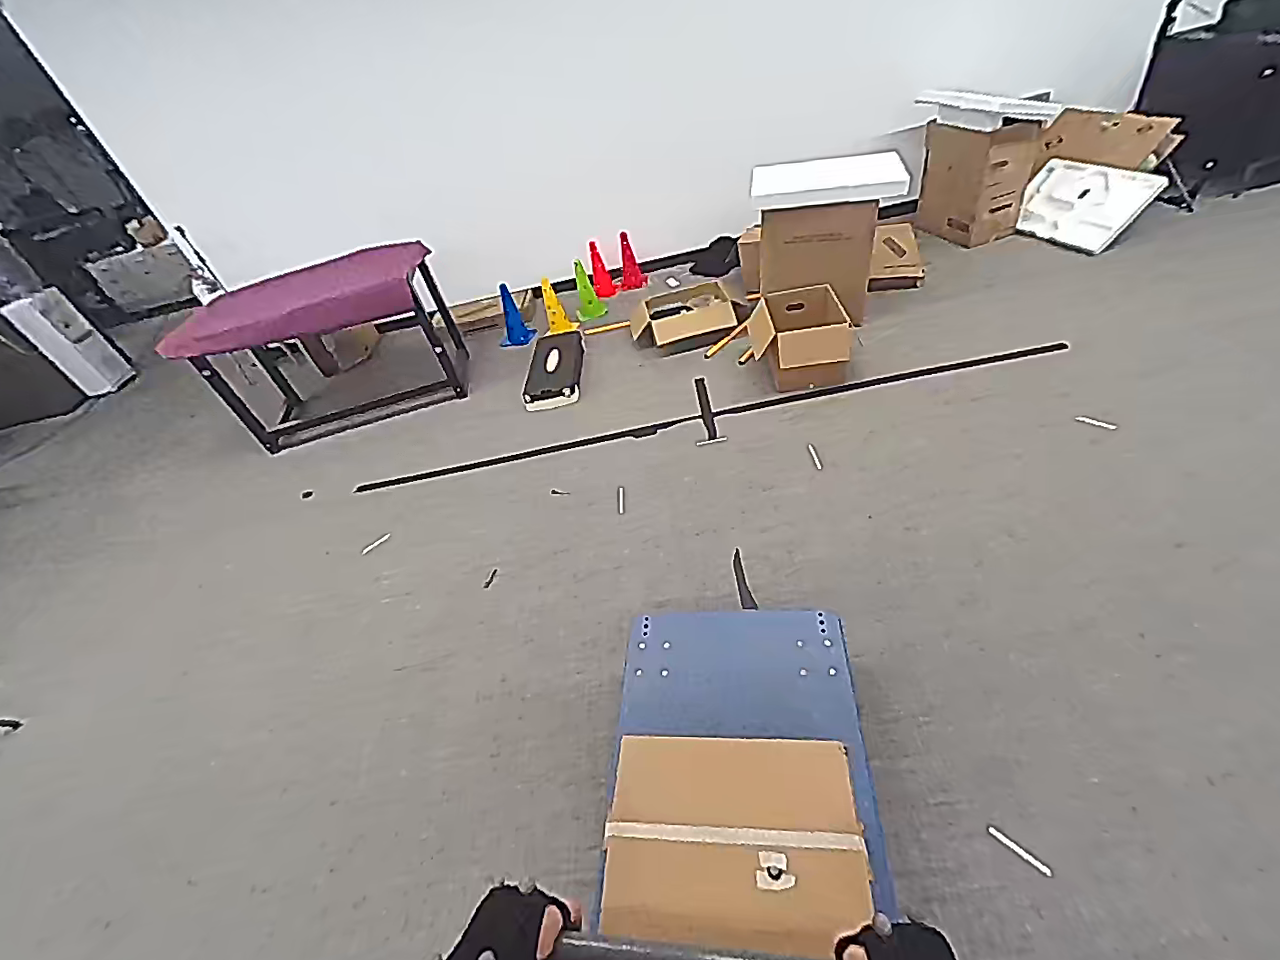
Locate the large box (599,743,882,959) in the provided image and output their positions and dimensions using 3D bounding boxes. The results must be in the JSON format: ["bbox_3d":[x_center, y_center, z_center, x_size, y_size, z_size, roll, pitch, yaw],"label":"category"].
[{"bbox_3d":[0.169,0.690,0.958,0.408,0.320,0.320,-4,42,11],"label":"large box"}]
